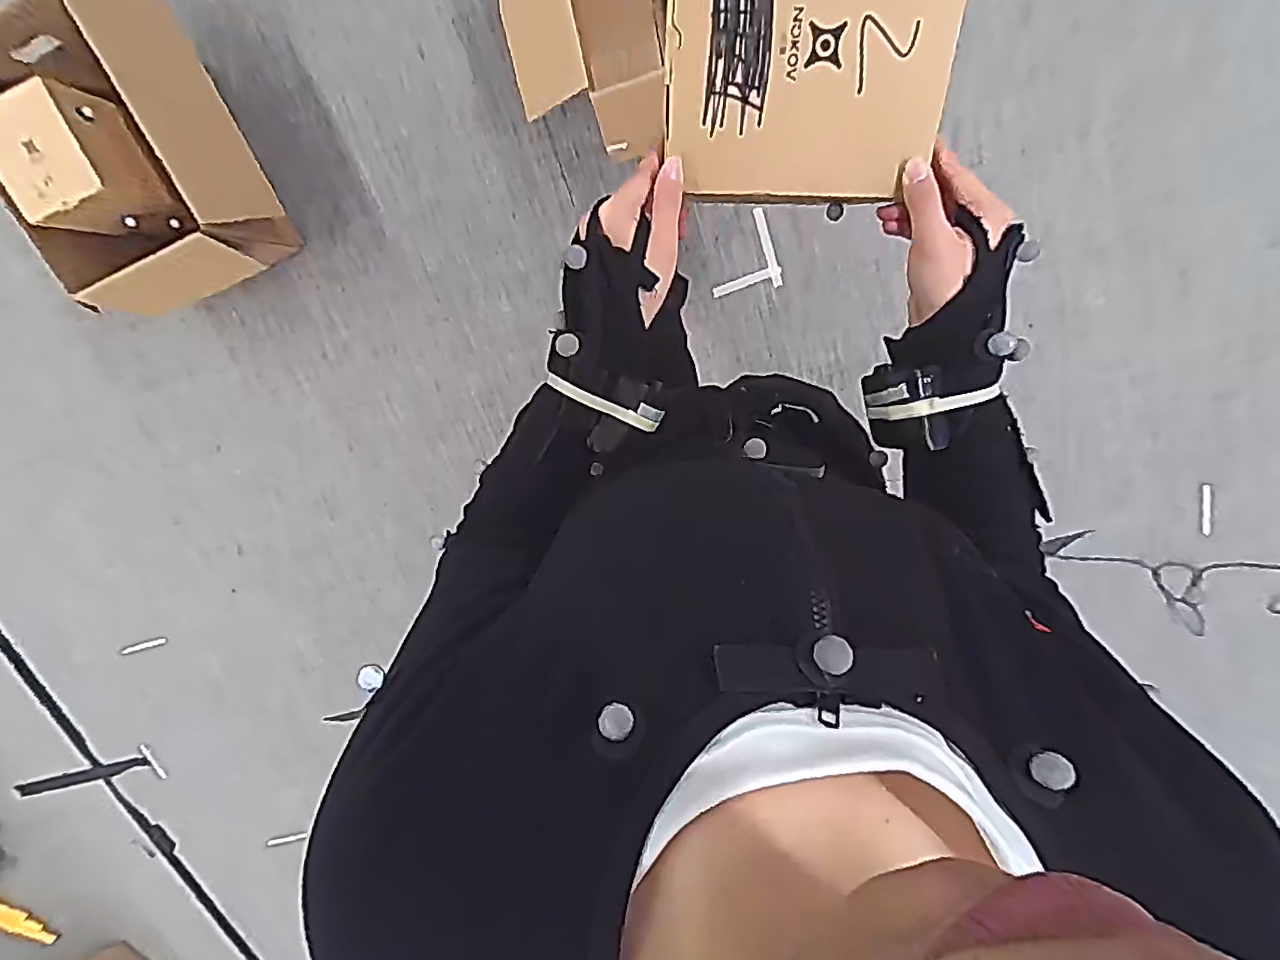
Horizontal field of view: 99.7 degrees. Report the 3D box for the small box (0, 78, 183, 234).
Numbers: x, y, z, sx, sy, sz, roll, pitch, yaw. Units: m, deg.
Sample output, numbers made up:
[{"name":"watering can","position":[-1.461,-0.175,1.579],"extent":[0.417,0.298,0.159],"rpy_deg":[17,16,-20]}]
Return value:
[{"name":"small box","position":[-1.000,-0.569,0.976],"extent":[0.168,0.176,0.179],"rpy_deg":[-18,107,9]}]
